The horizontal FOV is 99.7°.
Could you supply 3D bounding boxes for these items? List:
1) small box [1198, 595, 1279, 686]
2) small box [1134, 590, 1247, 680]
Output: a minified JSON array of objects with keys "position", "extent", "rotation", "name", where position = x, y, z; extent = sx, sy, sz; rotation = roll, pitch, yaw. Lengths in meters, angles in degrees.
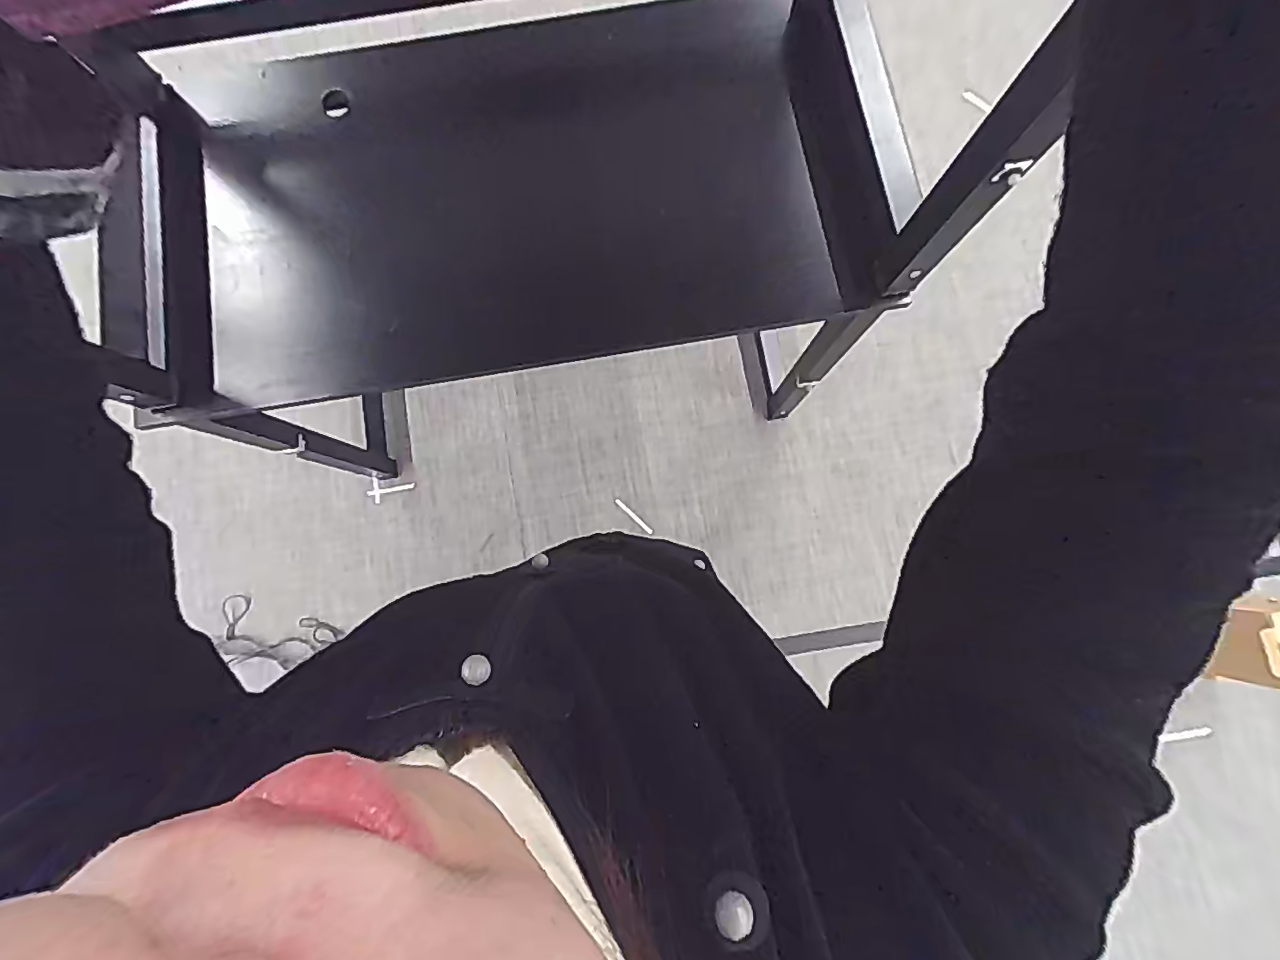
[{"position":[1.412,0.356,1.205],"extent":[0.179,0.176,0.168],"rotation":[-8,83,-1],"name":"small box"},{"position":[1.420,0.385,1.366],"extent":[0.168,0.176,0.179],"rotation":[-11,82,-1],"name":"small box"}]
